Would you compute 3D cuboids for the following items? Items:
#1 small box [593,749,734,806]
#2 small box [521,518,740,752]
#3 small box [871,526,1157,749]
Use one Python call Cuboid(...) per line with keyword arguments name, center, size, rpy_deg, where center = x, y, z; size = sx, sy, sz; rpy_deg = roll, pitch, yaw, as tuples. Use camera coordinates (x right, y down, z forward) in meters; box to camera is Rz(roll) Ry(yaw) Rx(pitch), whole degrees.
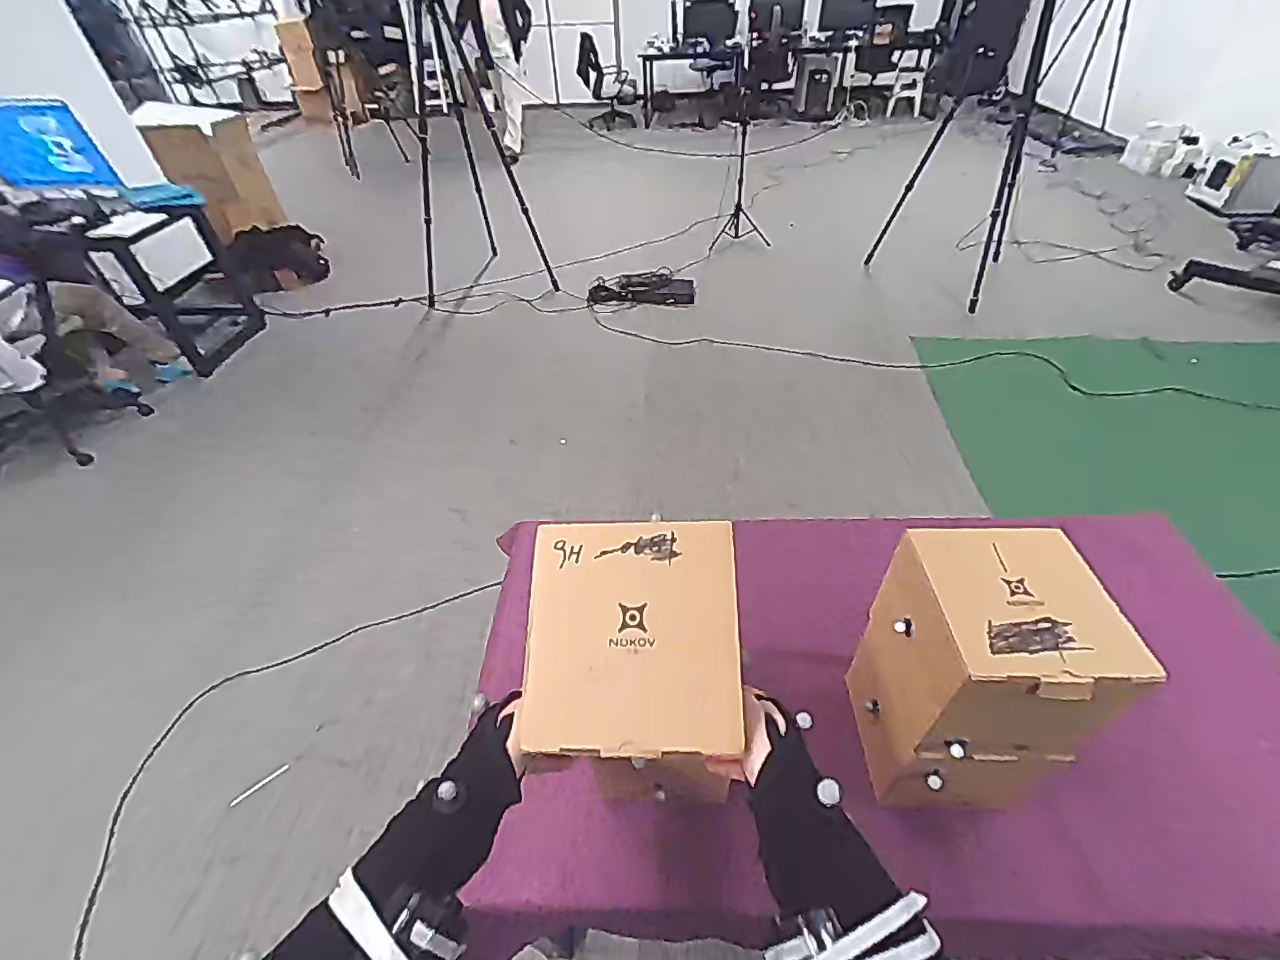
Cuboid(name="small box", center=(0.029, 0.297, 0.705), size=(0.168, 0.176, 0.179), rpy_deg=(0, 43, 4))
Cuboid(name="small box", center=(0.001, 0.144, 0.496), size=(0.168, 0.176, 0.179), rpy_deg=(-2, 67, 5))
Cuboid(name="small box", center=(0.369, 0.169, 0.580), size=(0.168, 0.176, 0.179), rpy_deg=(-1, 42, 3))
